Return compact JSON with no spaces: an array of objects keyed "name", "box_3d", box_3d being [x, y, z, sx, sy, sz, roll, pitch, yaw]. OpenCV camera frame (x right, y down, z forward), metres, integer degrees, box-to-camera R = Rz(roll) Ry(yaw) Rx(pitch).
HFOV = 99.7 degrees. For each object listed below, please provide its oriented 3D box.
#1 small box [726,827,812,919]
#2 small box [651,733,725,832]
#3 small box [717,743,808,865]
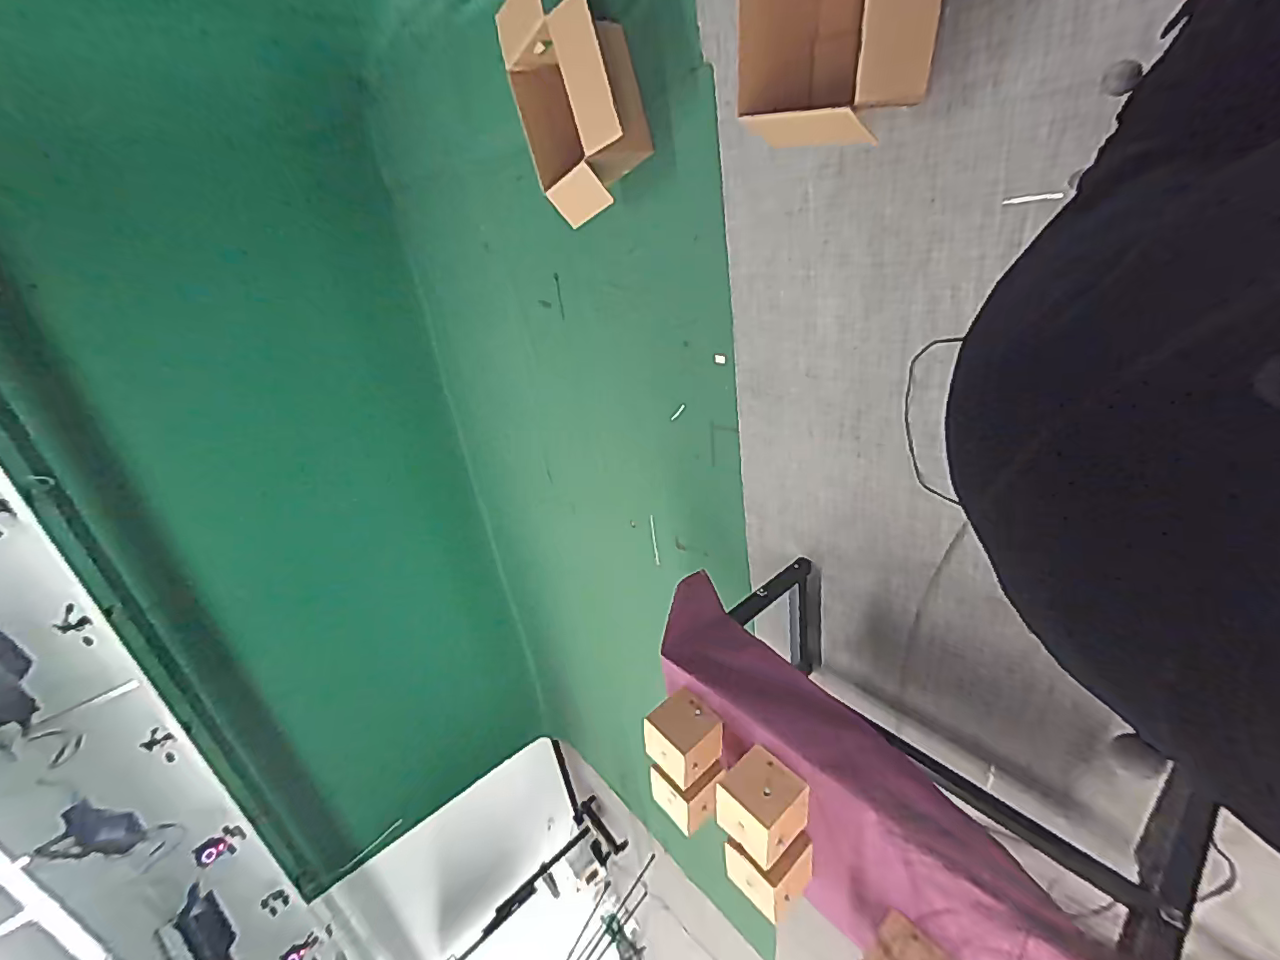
[{"name":"small box","box_3d":[0.357,1.034,1.488,0.168,0.176,0.179,23,129,45]},{"name":"small box","box_3d":[0.155,0.951,1.712,0.168,0.176,0.179,27,133,42]},{"name":"small box","box_3d":[0.319,0.830,1.403,0.168,0.176,0.179,25,131,43]}]
